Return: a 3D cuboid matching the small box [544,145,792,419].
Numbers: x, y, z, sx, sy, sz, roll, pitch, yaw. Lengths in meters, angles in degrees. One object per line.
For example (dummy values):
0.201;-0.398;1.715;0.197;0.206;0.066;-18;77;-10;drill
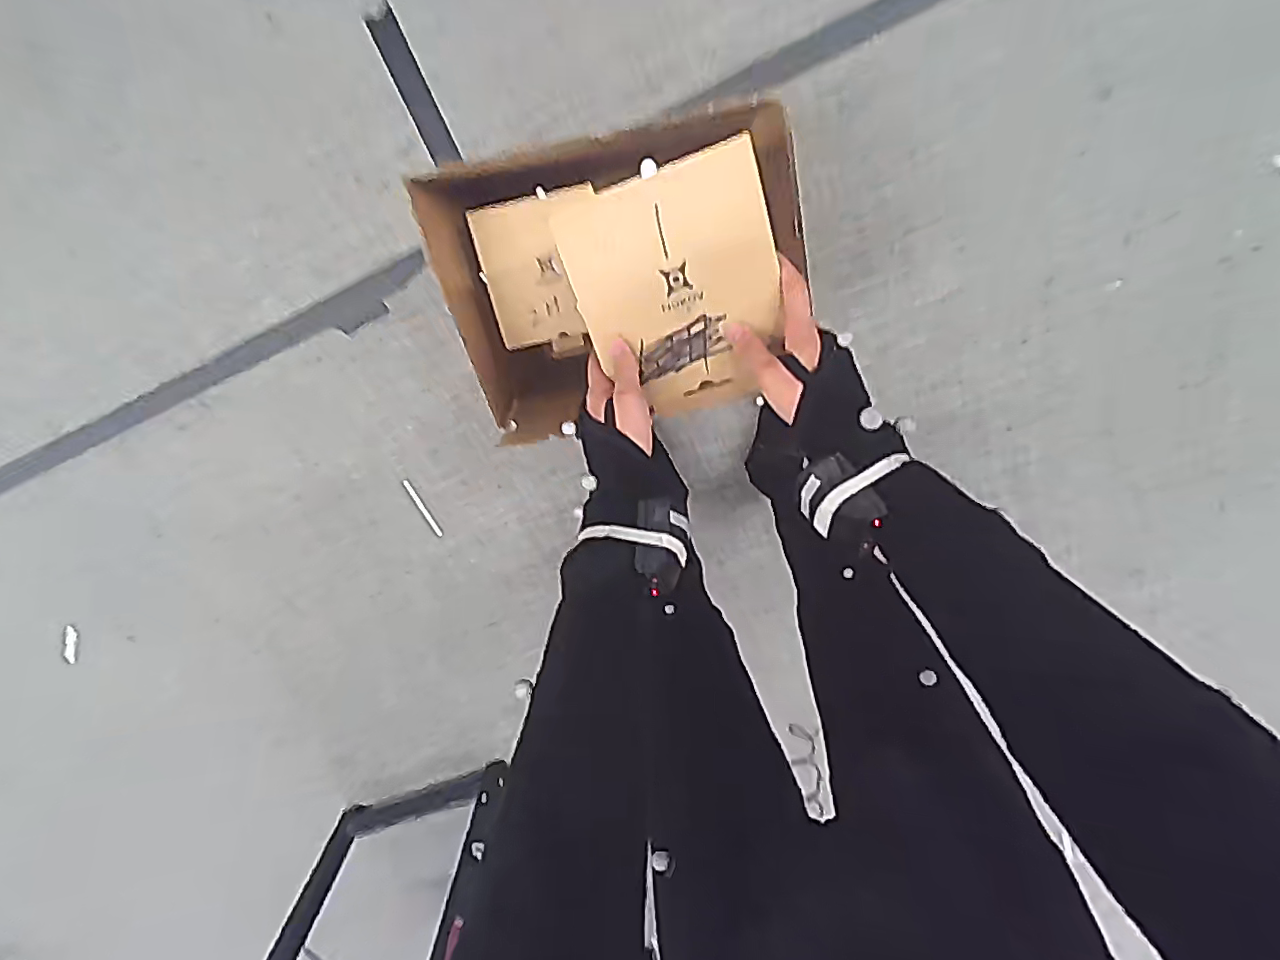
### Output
0.031;-0.183;0.513;0.168;0.176;0.179;-17;112;9;small box
